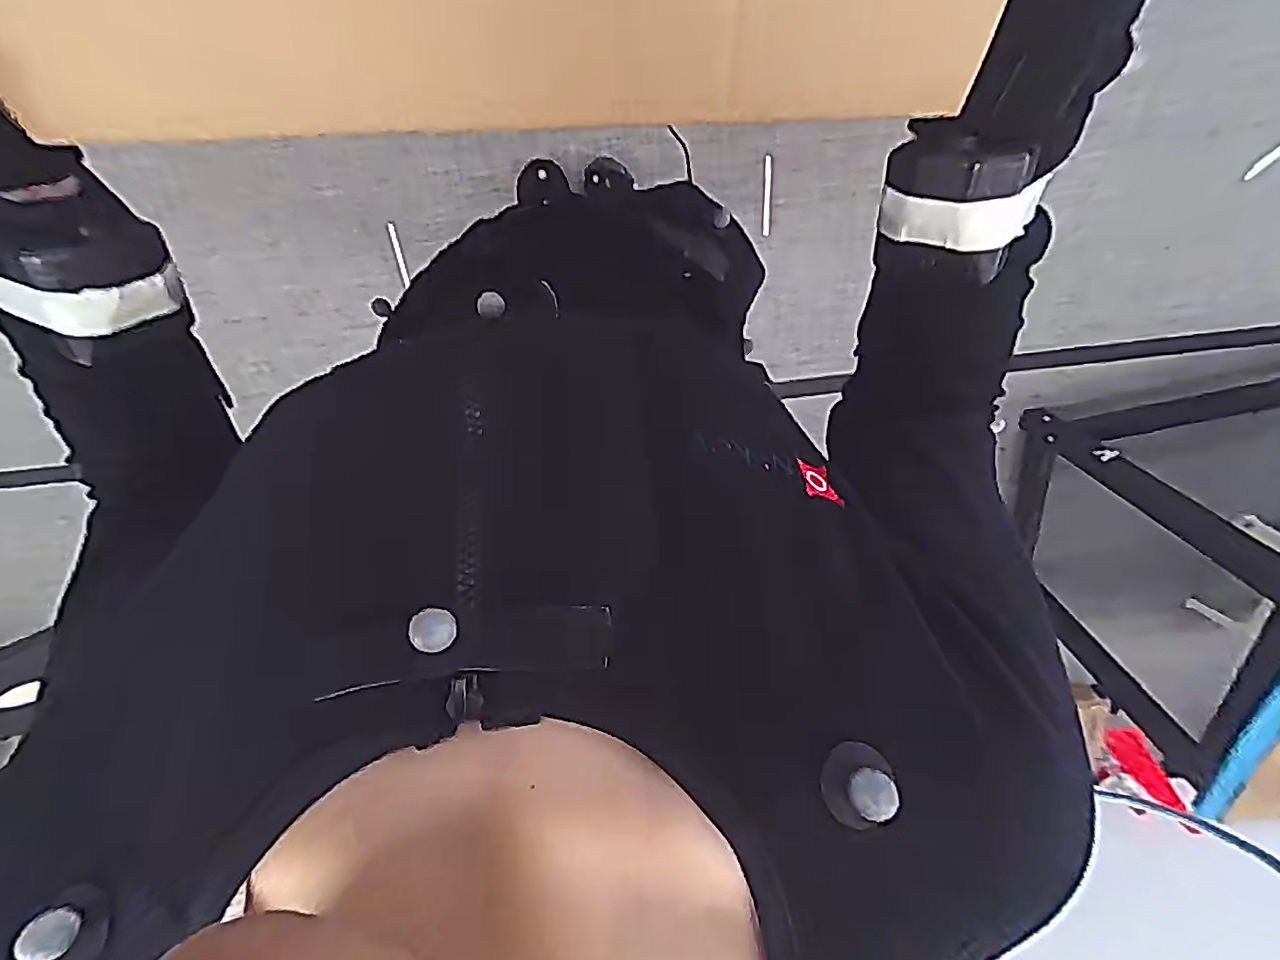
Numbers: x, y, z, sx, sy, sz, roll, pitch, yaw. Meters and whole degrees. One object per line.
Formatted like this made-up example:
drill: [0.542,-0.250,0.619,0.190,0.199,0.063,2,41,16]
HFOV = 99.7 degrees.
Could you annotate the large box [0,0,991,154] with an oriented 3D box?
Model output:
large box: [-0.068,-0.368,0.214,0.408,0.320,0.320,-2,144,1]
